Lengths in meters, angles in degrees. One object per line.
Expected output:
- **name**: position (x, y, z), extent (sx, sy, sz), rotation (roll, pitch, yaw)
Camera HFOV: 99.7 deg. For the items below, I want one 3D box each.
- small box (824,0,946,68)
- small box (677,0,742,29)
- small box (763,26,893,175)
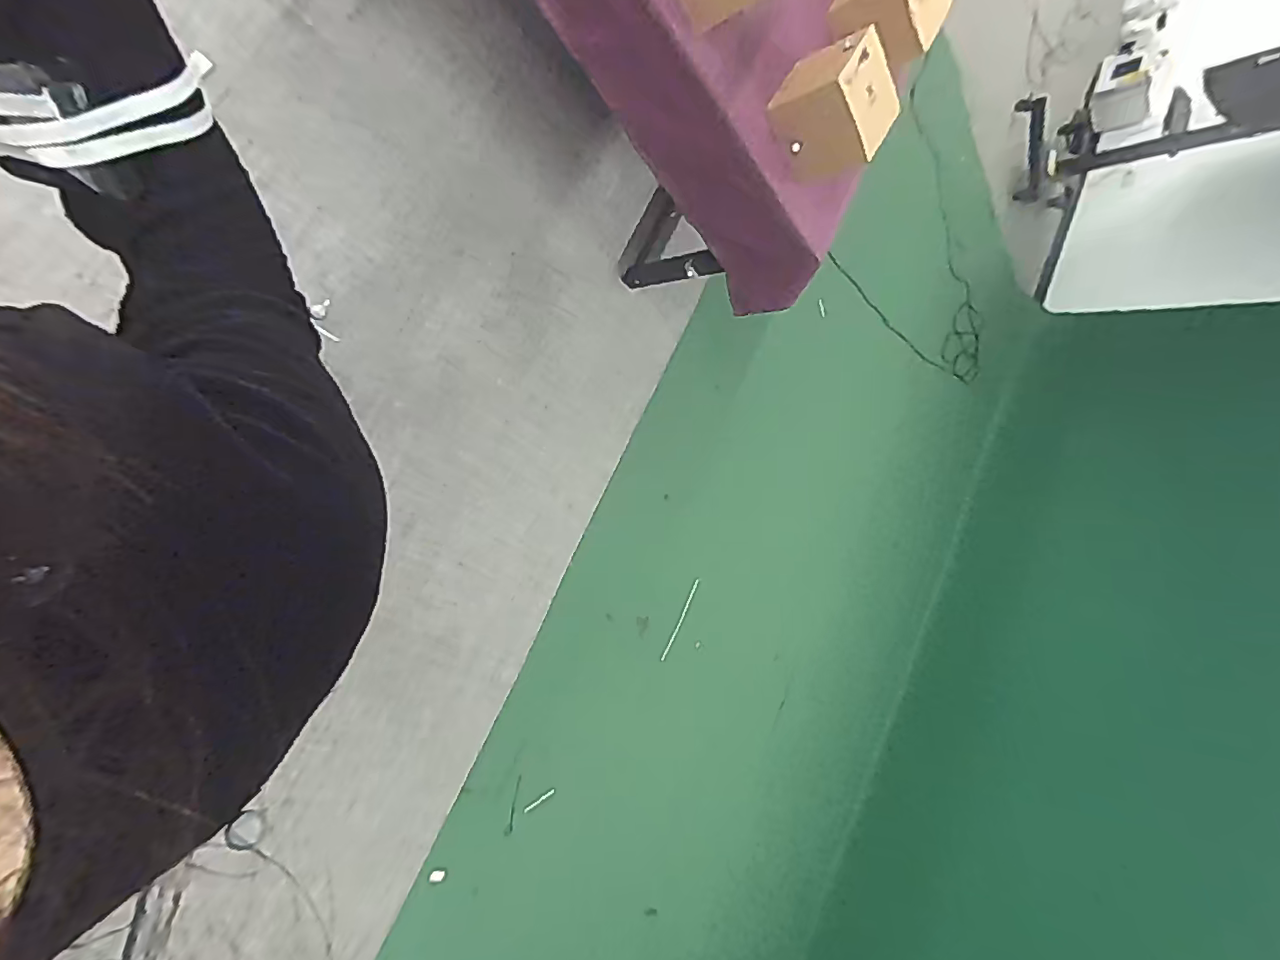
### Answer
- **small box**: position (0.531, -1.032, 1.179), extent (0.168, 0.176, 0.179), rotation (39, 75, -38)
- **small box**: position (0.137, -0.894, 0.871), extent (0.179, 0.176, 0.168), rotation (42, 72, -39)
- **small box**: position (0.386, -0.762, 1.113), extent (0.179, 0.176, 0.168), rotation (43, 71, -38)
